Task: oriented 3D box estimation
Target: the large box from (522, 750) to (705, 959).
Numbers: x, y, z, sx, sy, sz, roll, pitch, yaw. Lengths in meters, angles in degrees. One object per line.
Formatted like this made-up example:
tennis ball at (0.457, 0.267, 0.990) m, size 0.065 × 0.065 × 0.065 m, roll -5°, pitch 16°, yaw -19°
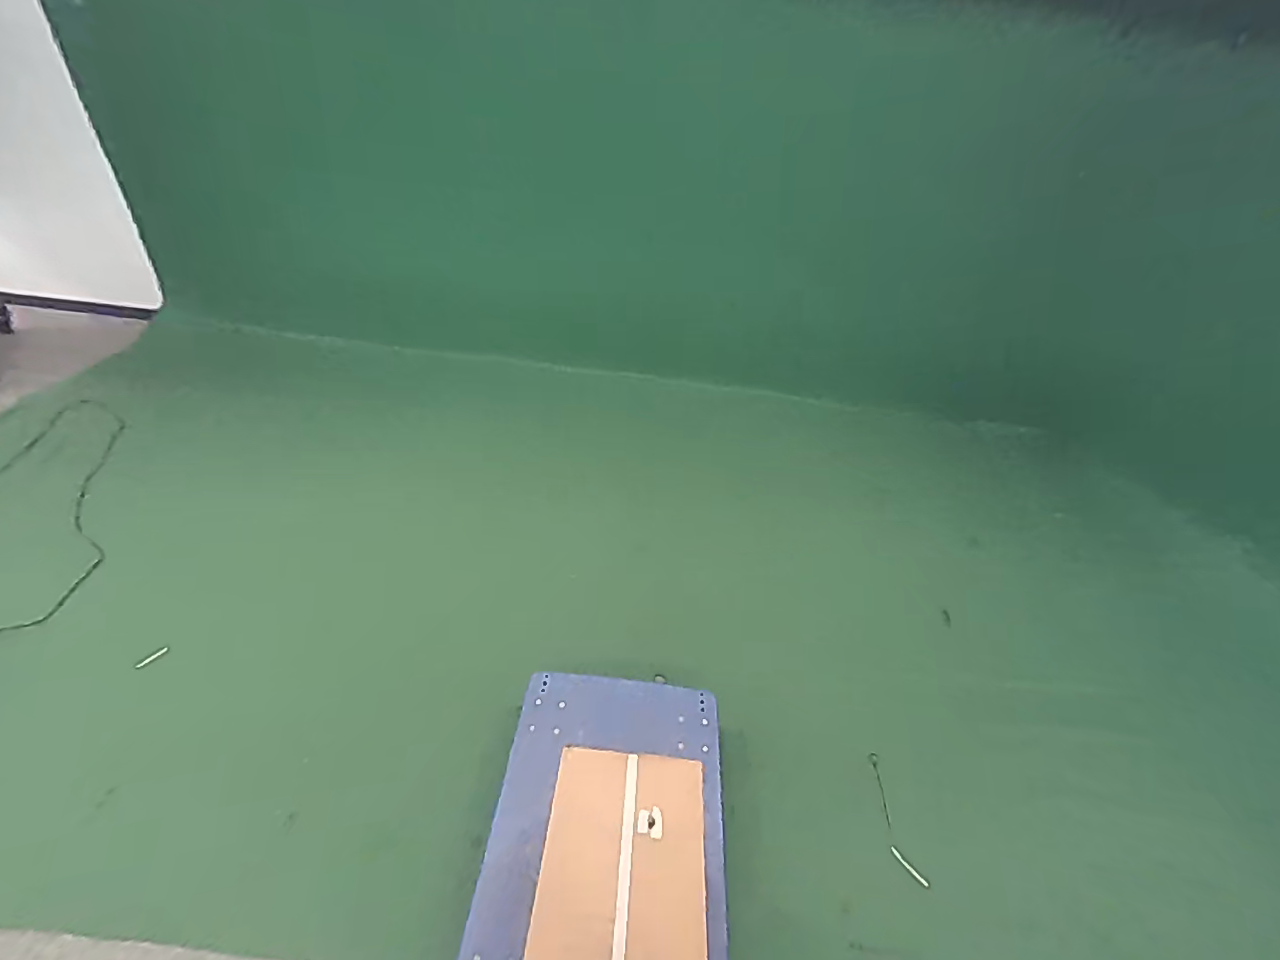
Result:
large box at (-0.050, 0.847, 1.122) m, size 0.320 × 0.320 × 0.408 m, roll 7°, pitch 36°, yaw -1°
